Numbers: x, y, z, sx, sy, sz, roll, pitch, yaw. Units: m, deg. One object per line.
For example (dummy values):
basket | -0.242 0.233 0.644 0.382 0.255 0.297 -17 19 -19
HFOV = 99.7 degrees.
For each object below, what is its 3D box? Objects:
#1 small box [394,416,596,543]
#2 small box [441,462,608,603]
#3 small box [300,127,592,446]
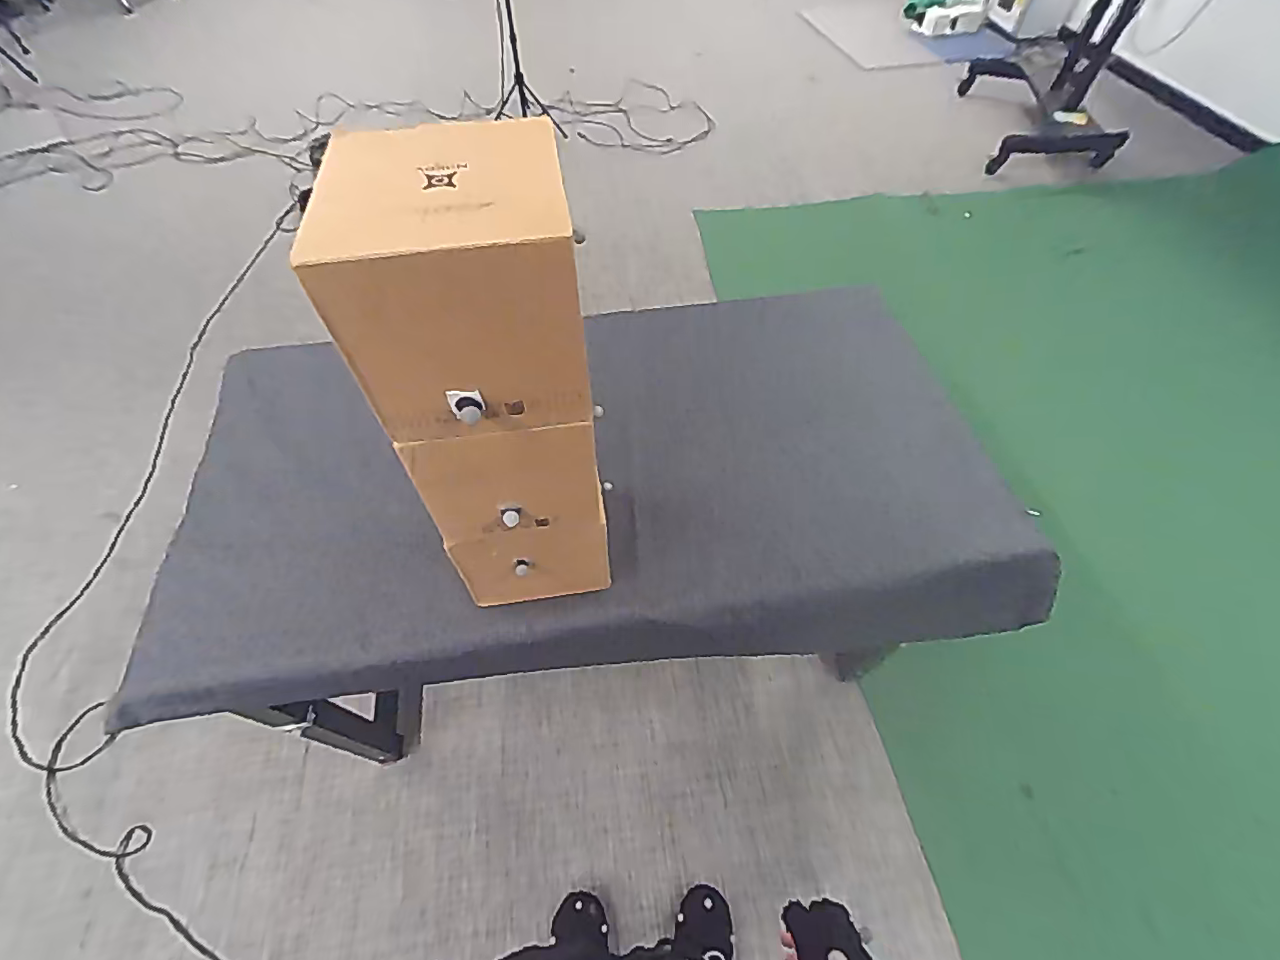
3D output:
small box | -0.136 -0.056 0.564 0.168 0.176 0.179 -6 55 -6
small box | -0.139 0.044 0.695 0.179 0.176 0.168 -7 55 -6
small box | -0.132 -0.152 0.434 0.168 0.176 0.179 -8 55 -6
